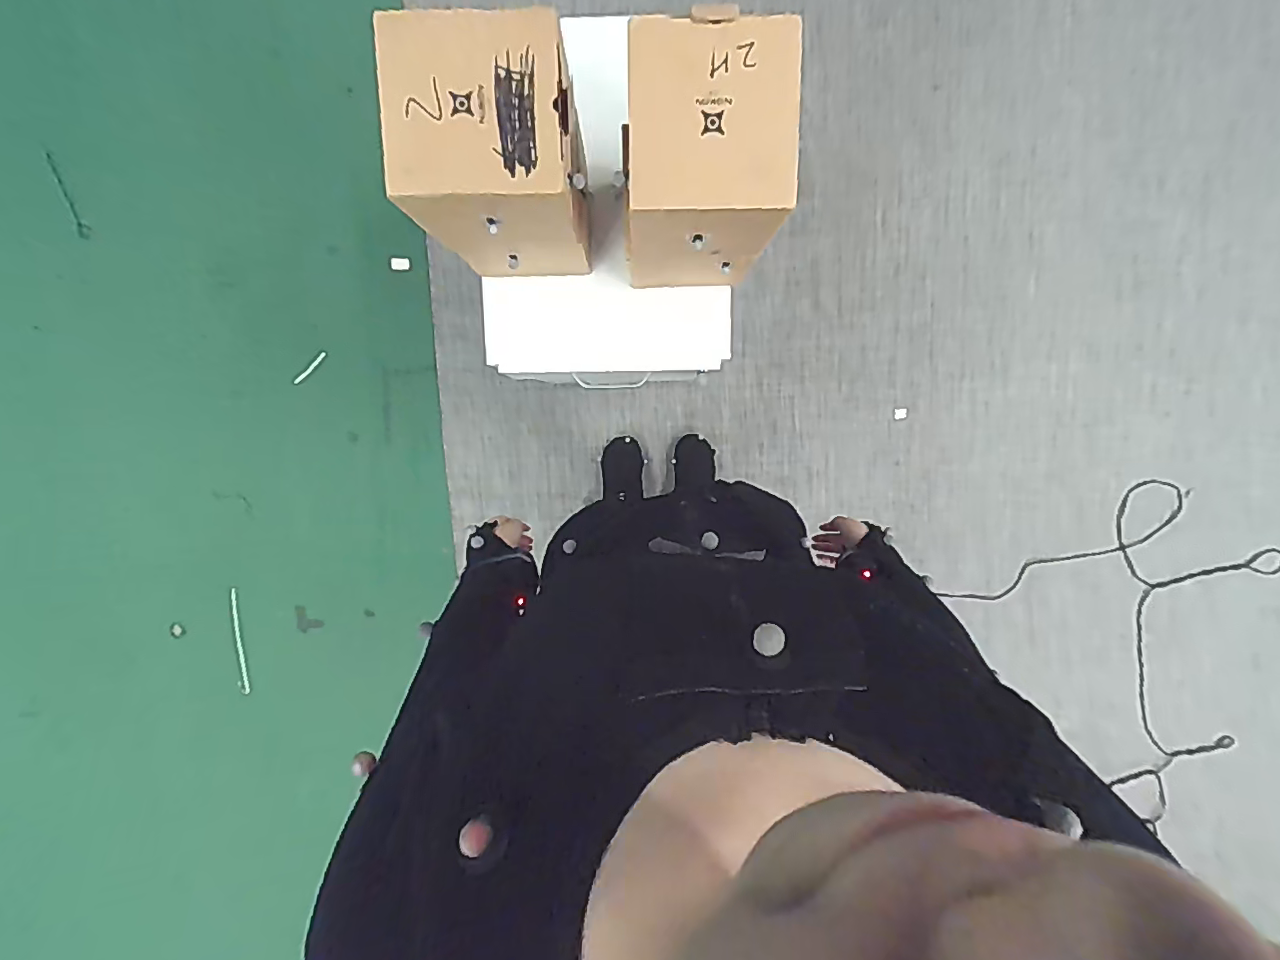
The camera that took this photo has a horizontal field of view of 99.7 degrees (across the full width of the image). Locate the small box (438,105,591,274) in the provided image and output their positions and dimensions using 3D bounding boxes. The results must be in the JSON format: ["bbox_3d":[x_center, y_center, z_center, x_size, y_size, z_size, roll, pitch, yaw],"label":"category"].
[{"bbox_3d":[-0.165,-0.394,0.761,0.179,0.176,0.168,-2,98,-1],"label":"small box"}]

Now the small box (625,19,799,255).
[{"bbox_3d":[0.068,-0.359,0.600,0.168,0.176,0.179,0,97,-1],"label":"small box"}]
